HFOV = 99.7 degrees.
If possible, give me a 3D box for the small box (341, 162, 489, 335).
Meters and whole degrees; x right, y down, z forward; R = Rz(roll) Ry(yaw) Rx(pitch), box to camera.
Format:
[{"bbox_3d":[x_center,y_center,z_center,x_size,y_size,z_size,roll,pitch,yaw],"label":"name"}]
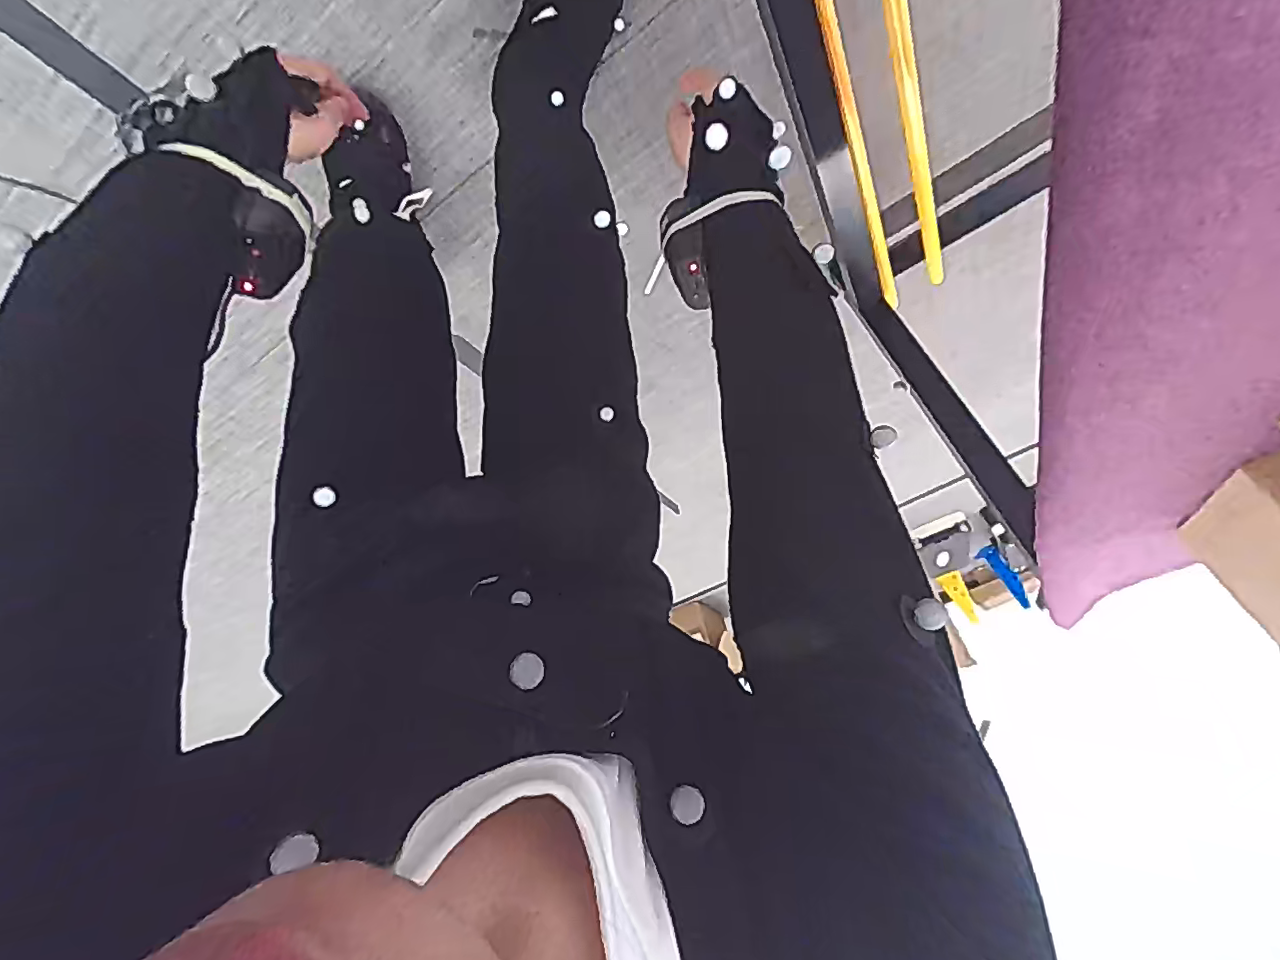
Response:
[{"bbox_3d":[-0.324,-0.327,0.777,0.179,0.176,0.168,-3,138,-25],"label":"small box"}]
